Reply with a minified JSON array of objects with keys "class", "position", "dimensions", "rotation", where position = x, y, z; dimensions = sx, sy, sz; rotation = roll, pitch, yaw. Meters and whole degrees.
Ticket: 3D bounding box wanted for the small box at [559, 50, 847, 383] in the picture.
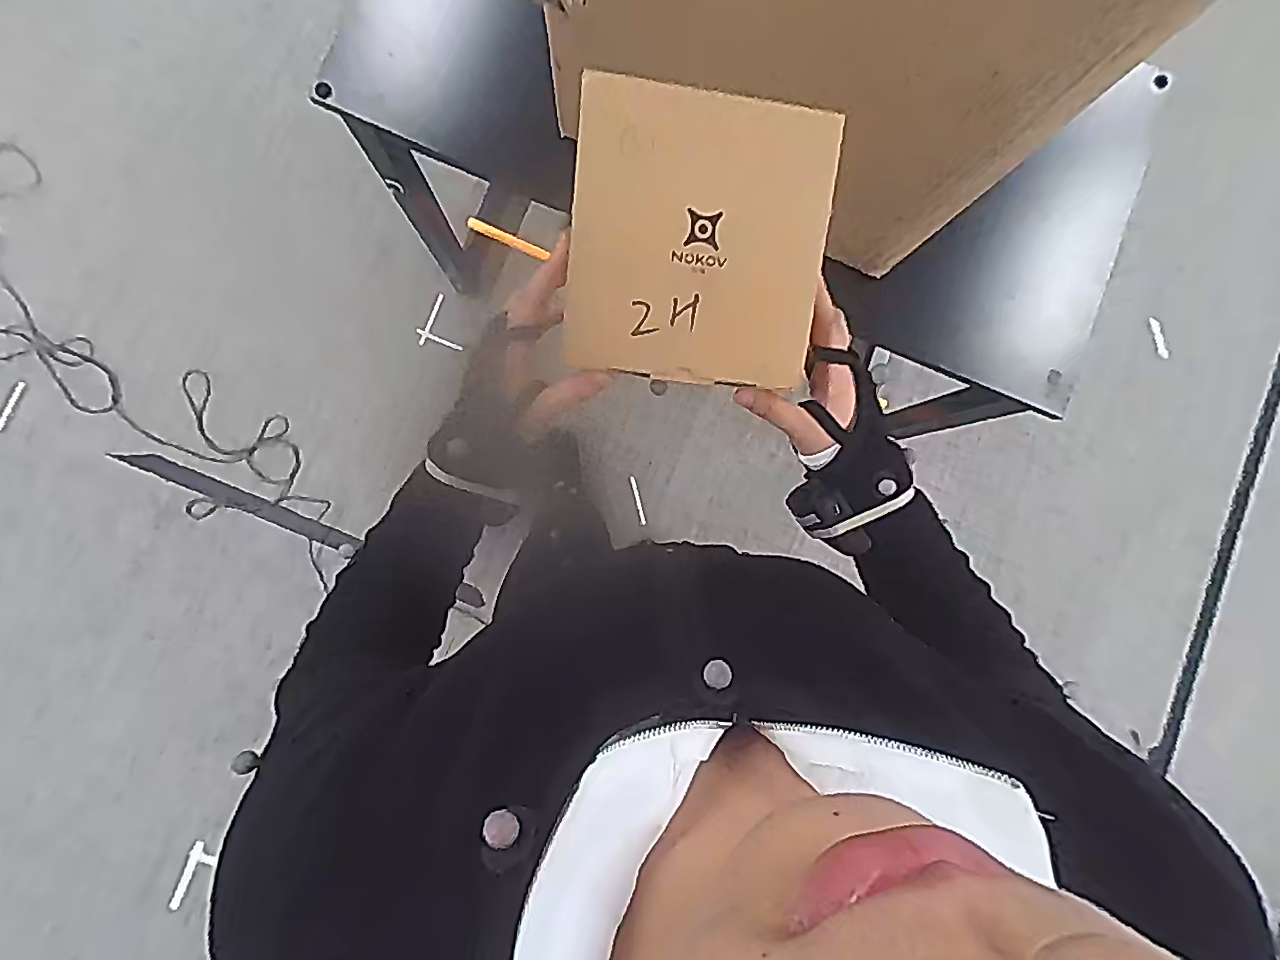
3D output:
[{"class":"small box","position":[0.031,-0.174,0.416],"dimensions":[0.168,0.176,0.179],"rotation":[5,102,-6]}]
